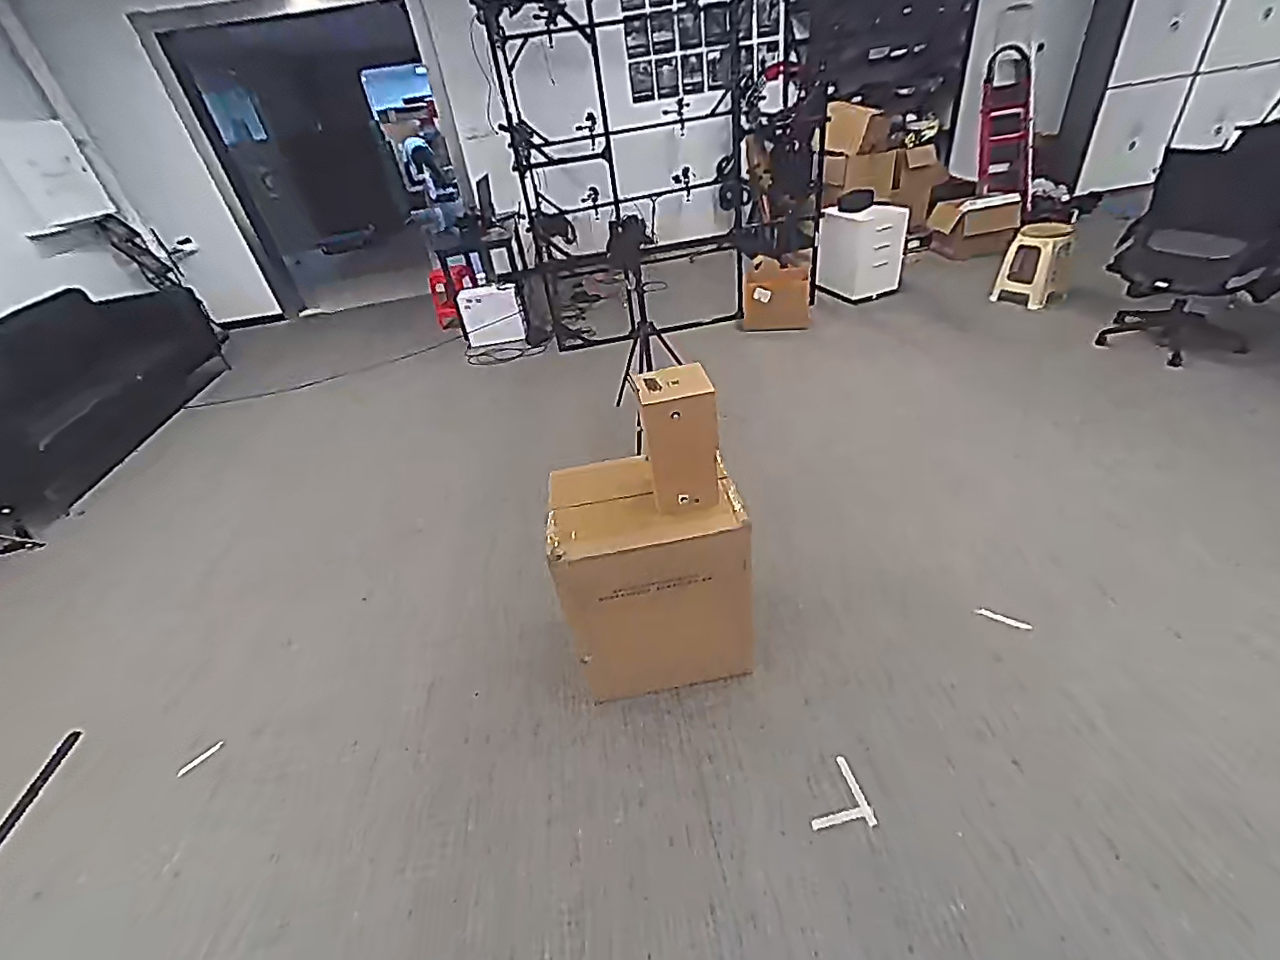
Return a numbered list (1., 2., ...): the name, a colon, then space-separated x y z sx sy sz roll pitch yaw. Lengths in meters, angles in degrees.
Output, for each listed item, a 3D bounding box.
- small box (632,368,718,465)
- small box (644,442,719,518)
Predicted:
1. small box: 0.087 -0.156 1.353 0.179 0.176 0.168 -12 36 -1
2. small box: 0.109 -0.024 1.450 0.168 0.176 0.179 -12 37 -1
